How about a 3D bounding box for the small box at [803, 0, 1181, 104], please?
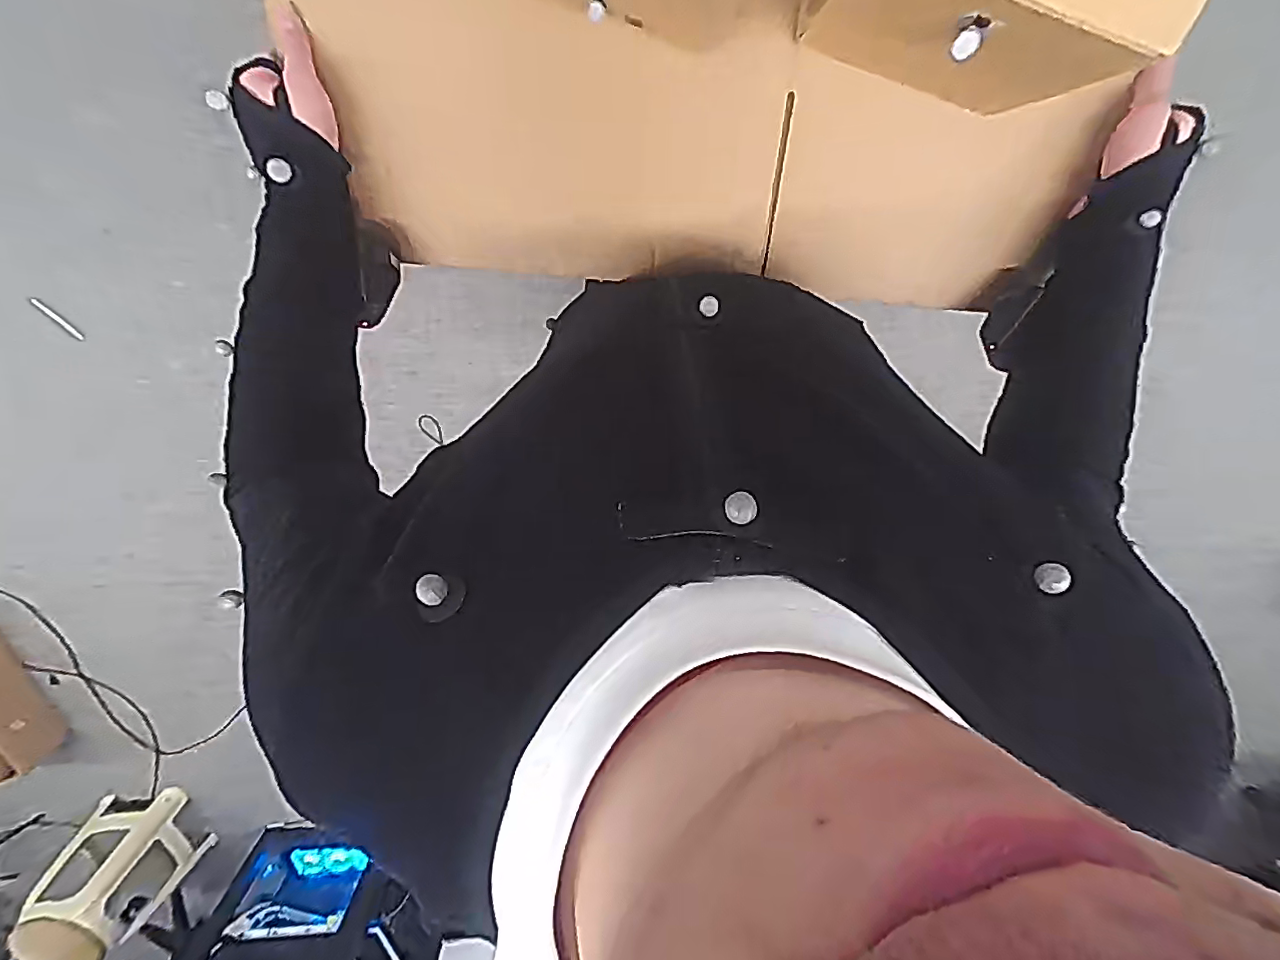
[{"bbox_3d":[0.229,-0.362,0.336,0.179,0.176,0.168,16,115,-6],"label":"small box"}]
